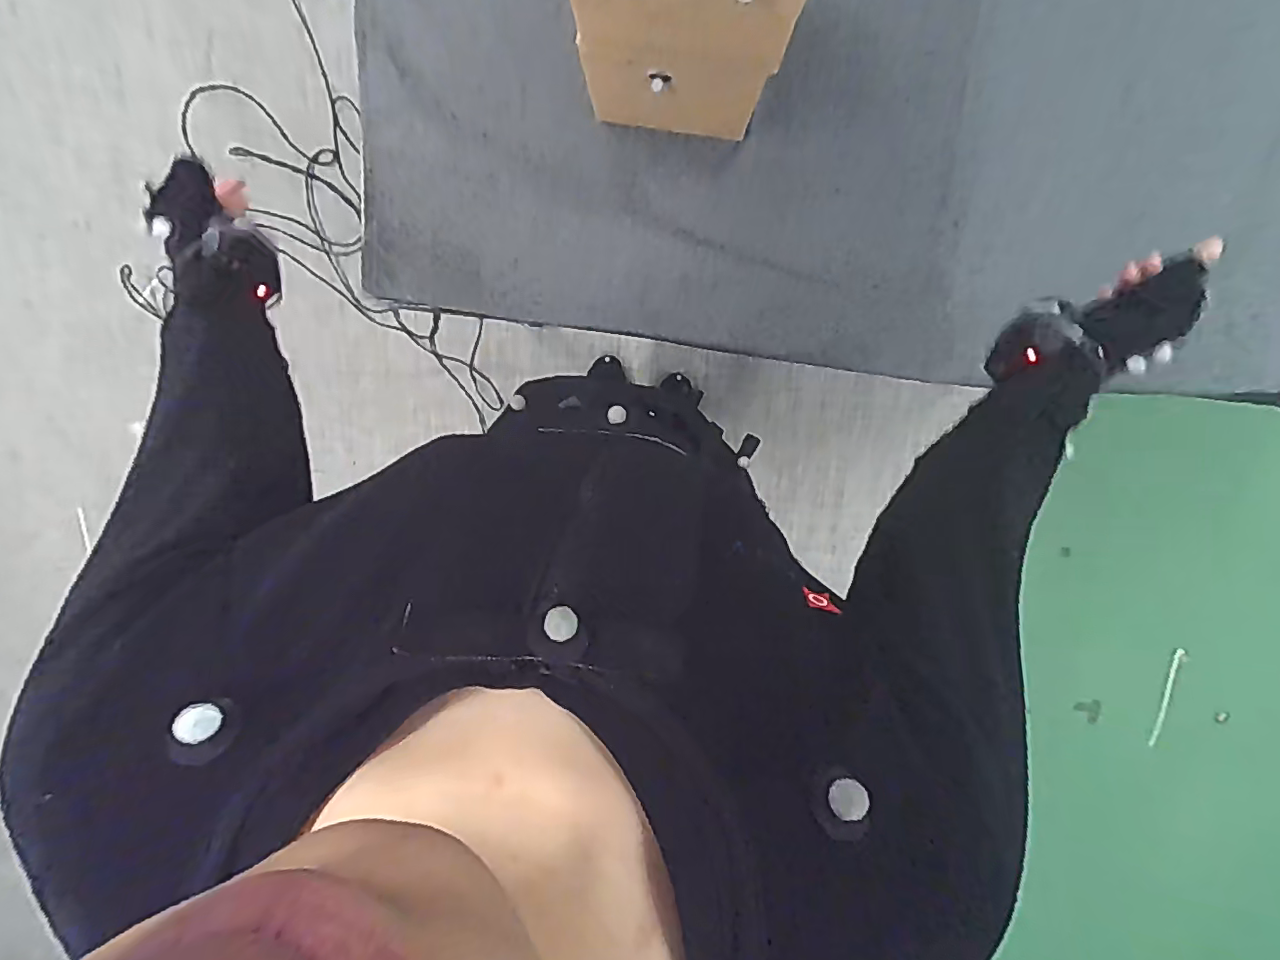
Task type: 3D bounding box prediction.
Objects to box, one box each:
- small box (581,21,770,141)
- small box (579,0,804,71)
[{"bbox_3d":[0.045,-0.478,0.555,0.179,0.176,0.168,8,102,-1],"label":"small box"},{"bbox_3d":[0.046,-0.437,0.395,0.179,0.176,0.168,7,102,0],"label":"small box"}]
